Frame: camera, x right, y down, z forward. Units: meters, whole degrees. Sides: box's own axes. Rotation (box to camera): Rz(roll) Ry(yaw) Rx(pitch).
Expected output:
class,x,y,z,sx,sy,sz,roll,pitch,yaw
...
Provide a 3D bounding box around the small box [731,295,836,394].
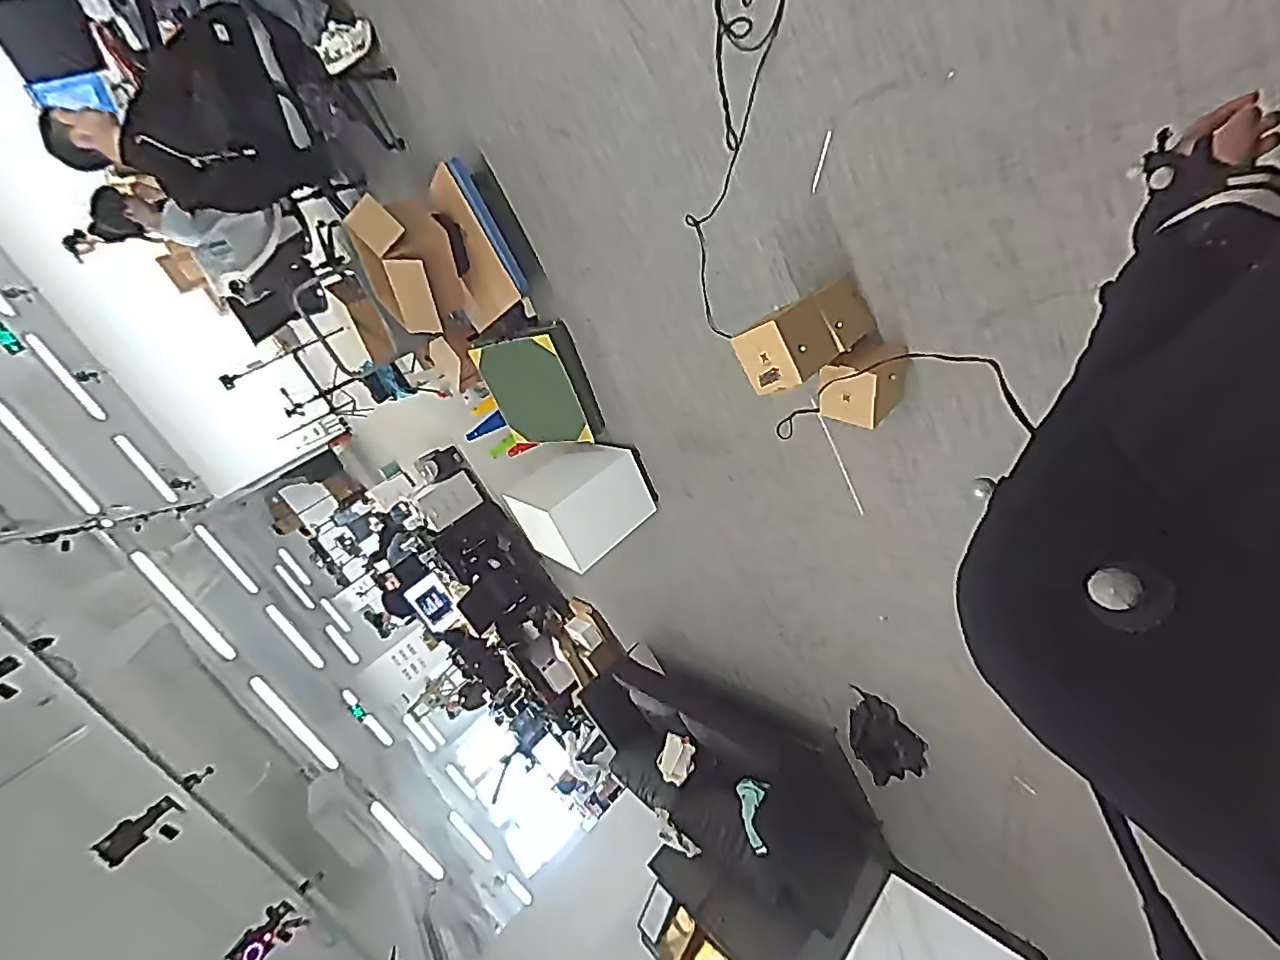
class,x,y,z,sx,sy,sz,roll,pitch,yaw
small box,0.381,-0.353,1.421,0.168,0.176,0.179,-7,116,59

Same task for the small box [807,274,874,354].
class,x,y,z,sx,sy,sz,roll,pitch,yaw
small box,0.504,-0.435,1.494,0.168,0.176,0.179,58,153,-9
